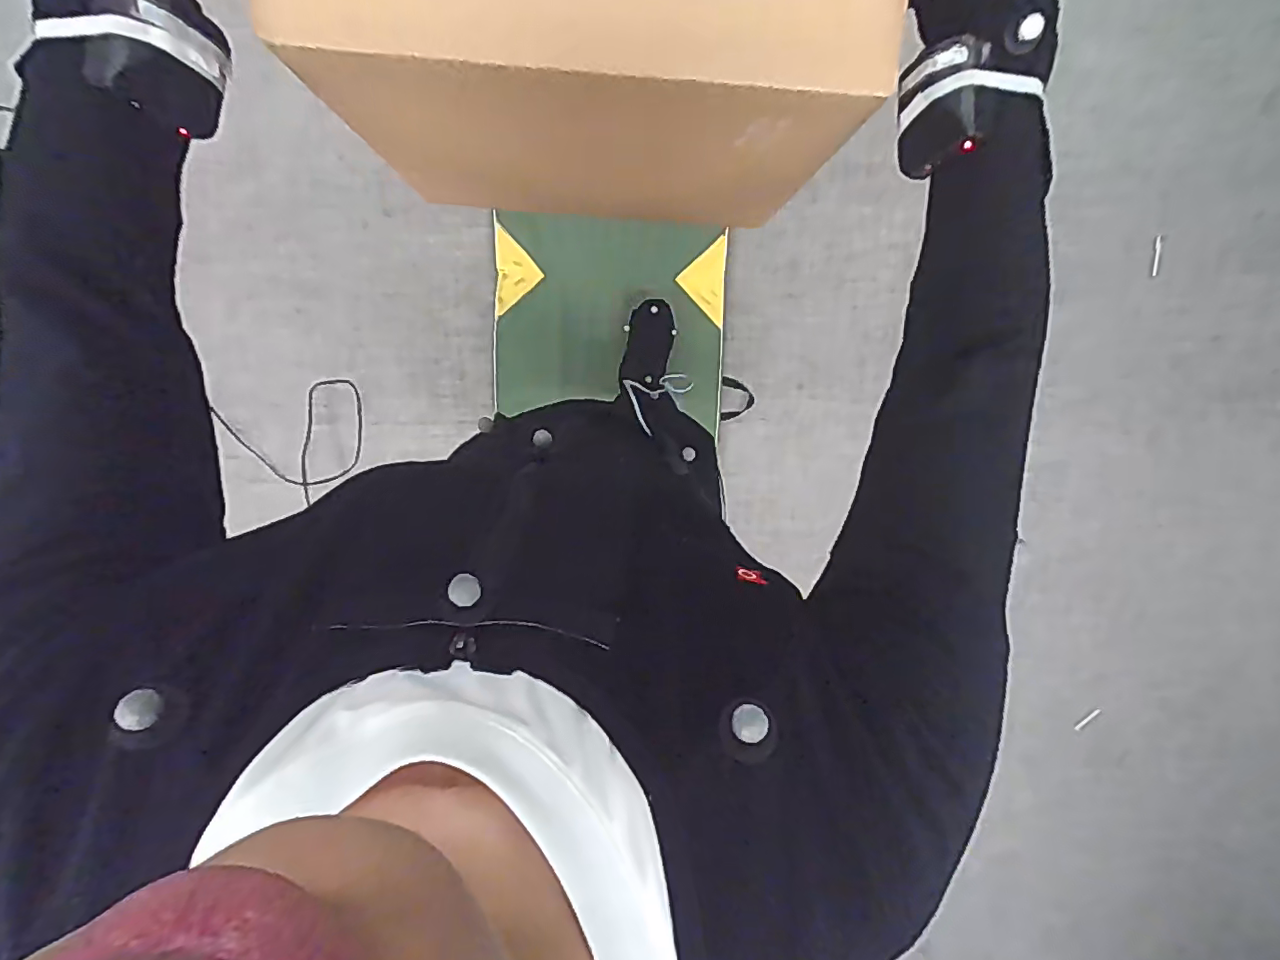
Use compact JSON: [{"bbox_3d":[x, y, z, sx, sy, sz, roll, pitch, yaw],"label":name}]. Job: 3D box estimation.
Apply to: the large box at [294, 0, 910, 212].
[{"bbox_3d":[-0.025,-0.451,0.472,0.408,0.320,0.320,2,101,-5],"label":"large box"}]
